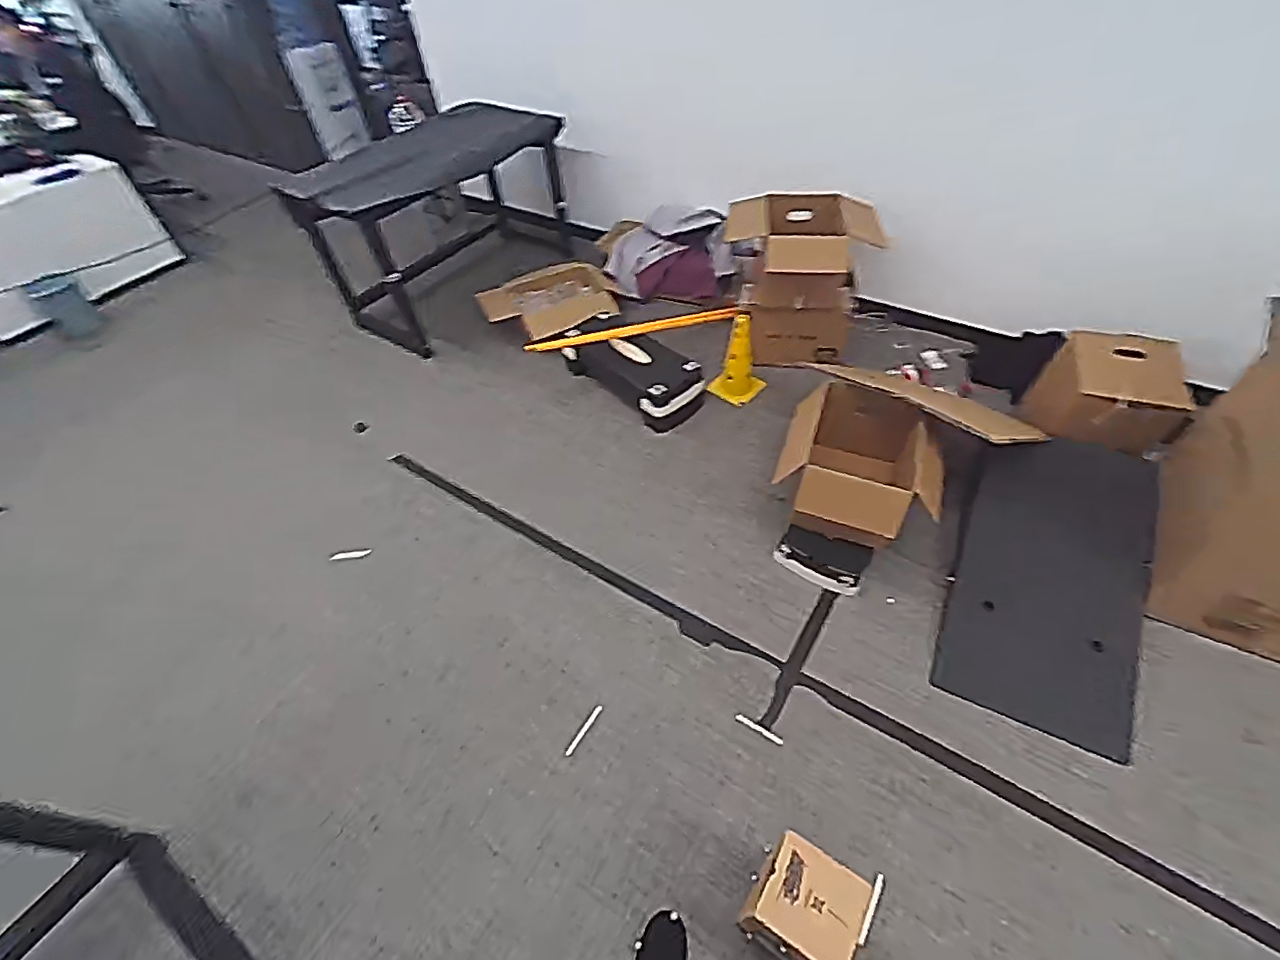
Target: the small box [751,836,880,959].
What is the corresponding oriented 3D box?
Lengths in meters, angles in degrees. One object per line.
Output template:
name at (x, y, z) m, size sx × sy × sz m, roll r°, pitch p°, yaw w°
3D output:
small box at (0.332, 0.841, 1.054) m, size 0.179 × 0.176 × 0.168 m, roll 26°, pitch 56°, yaw 22°
